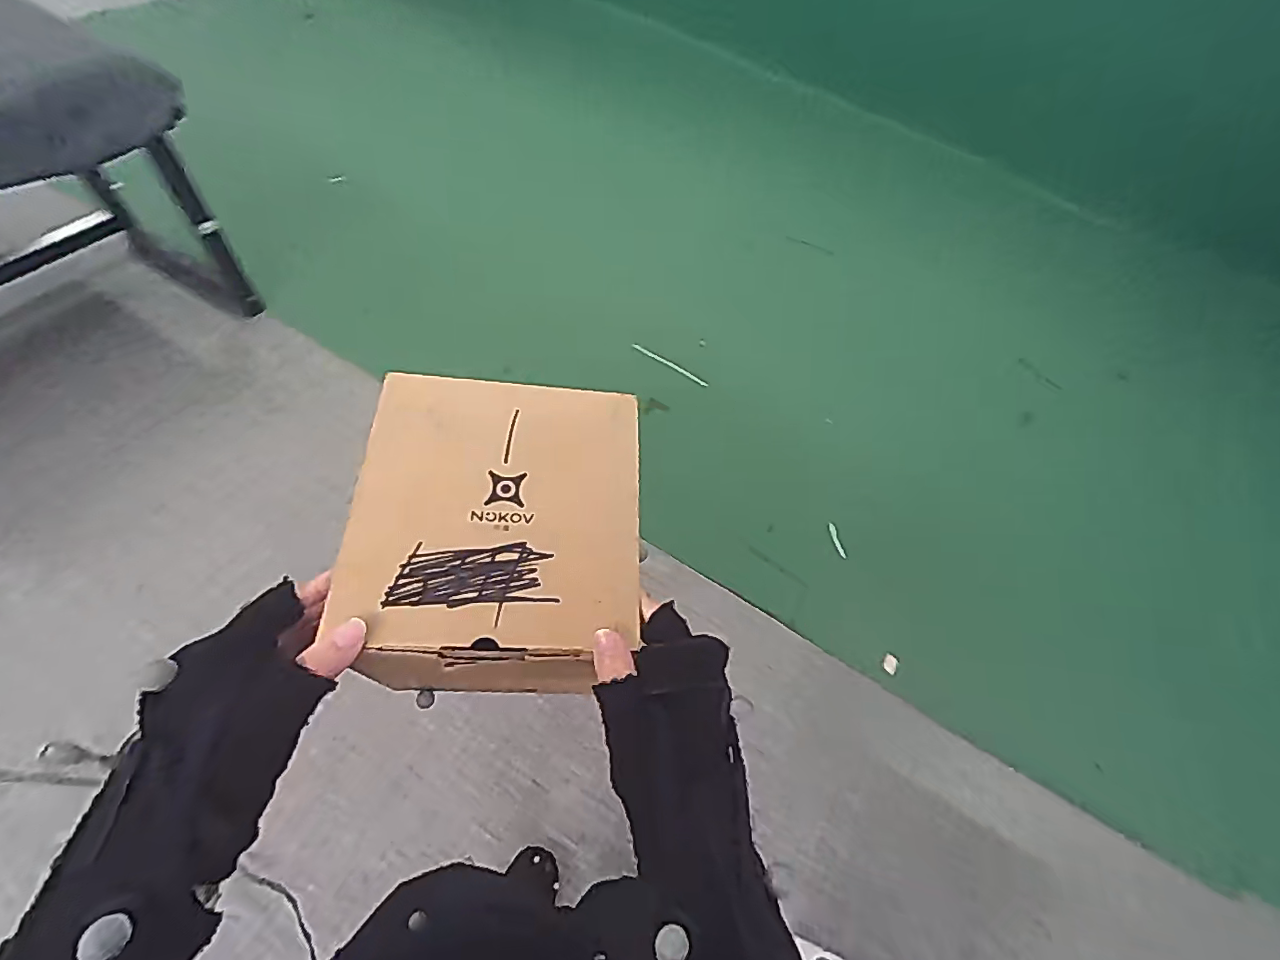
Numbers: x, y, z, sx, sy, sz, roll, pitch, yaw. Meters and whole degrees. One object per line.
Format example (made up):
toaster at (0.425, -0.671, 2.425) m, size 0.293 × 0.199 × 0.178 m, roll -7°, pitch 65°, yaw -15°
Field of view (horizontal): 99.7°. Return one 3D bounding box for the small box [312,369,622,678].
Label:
small box at (-0.104, 0.045, 0.400) m, size 0.168 × 0.176 × 0.179 m, roll 4°, pitch 60°, yaw -9°
